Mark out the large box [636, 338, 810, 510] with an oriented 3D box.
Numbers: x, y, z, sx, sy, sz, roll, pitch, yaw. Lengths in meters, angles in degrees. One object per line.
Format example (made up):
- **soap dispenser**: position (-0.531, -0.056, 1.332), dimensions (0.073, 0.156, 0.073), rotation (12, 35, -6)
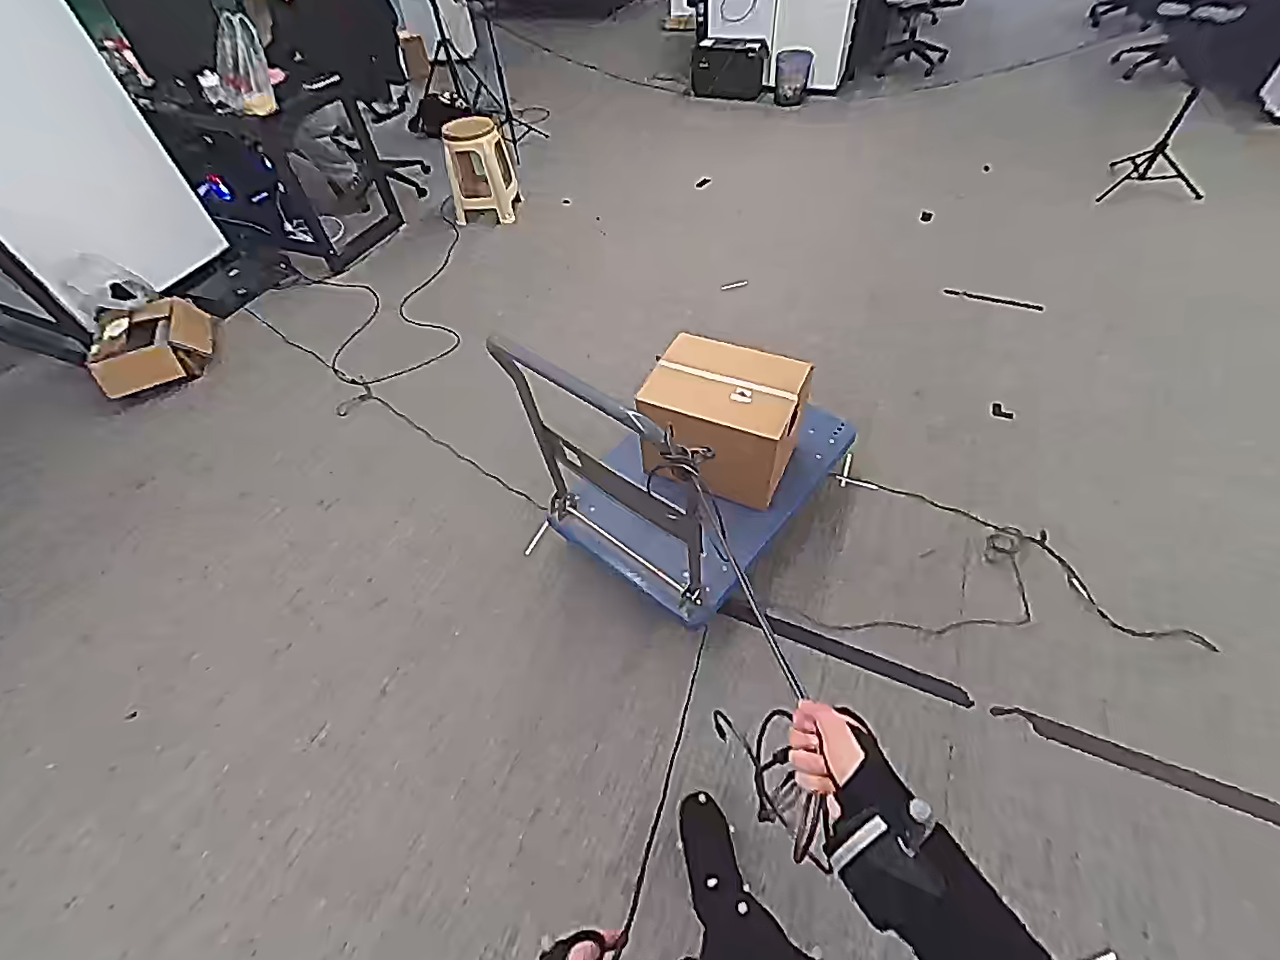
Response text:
- **large box**: position (0.235, -0.166, 1.588), dimensions (0.408, 0.320, 0.320), rotation (19, 56, 19)
